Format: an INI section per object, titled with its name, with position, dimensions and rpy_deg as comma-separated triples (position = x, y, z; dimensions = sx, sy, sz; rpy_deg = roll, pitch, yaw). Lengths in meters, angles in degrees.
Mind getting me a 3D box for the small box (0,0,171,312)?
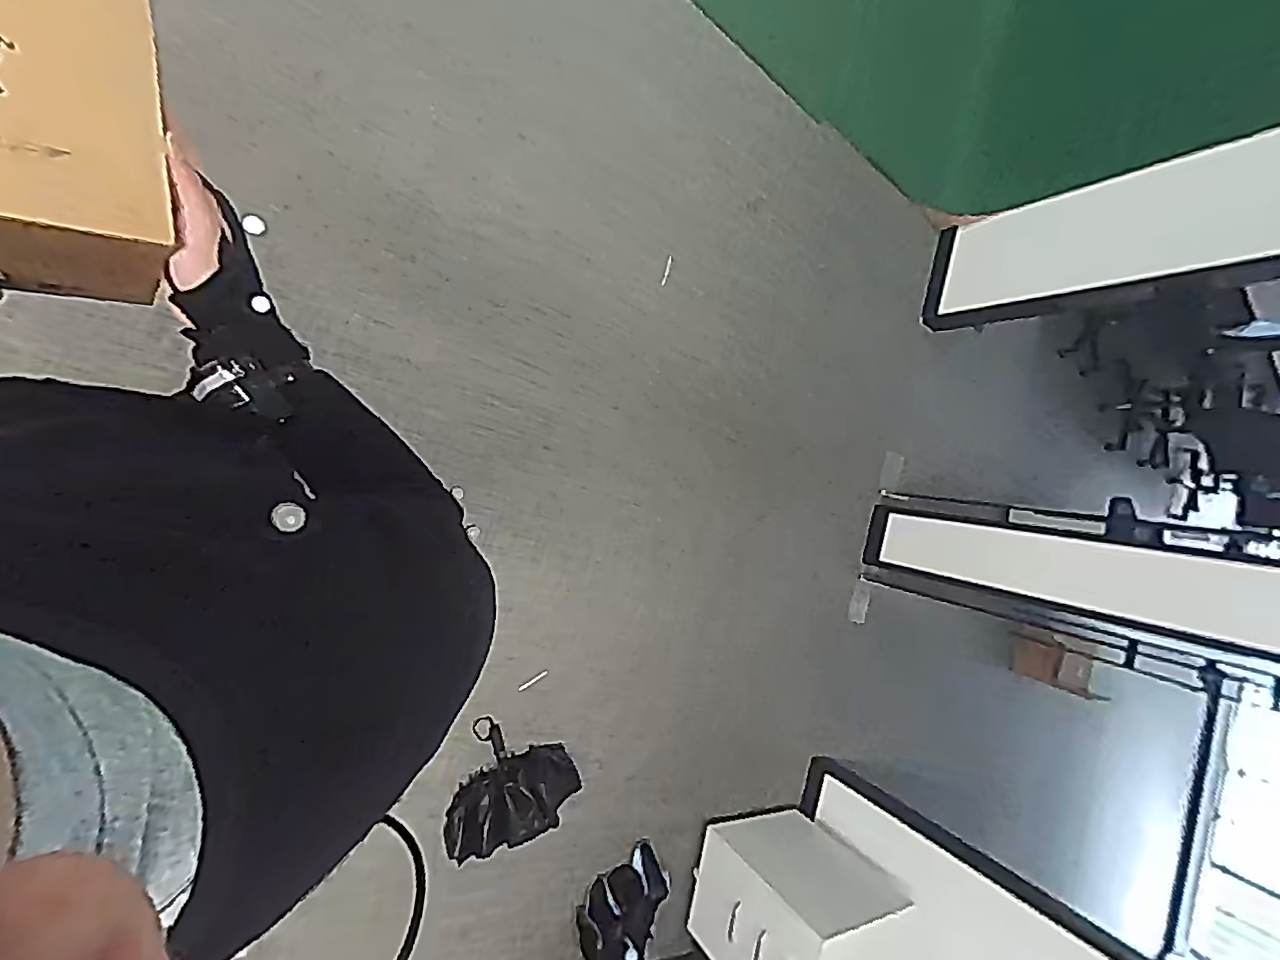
[small box]
position = -0.441, -0.228, 0.361
dimensions = 0.168, 0.176, 0.179
rpy_deg = -8, 96, -46
